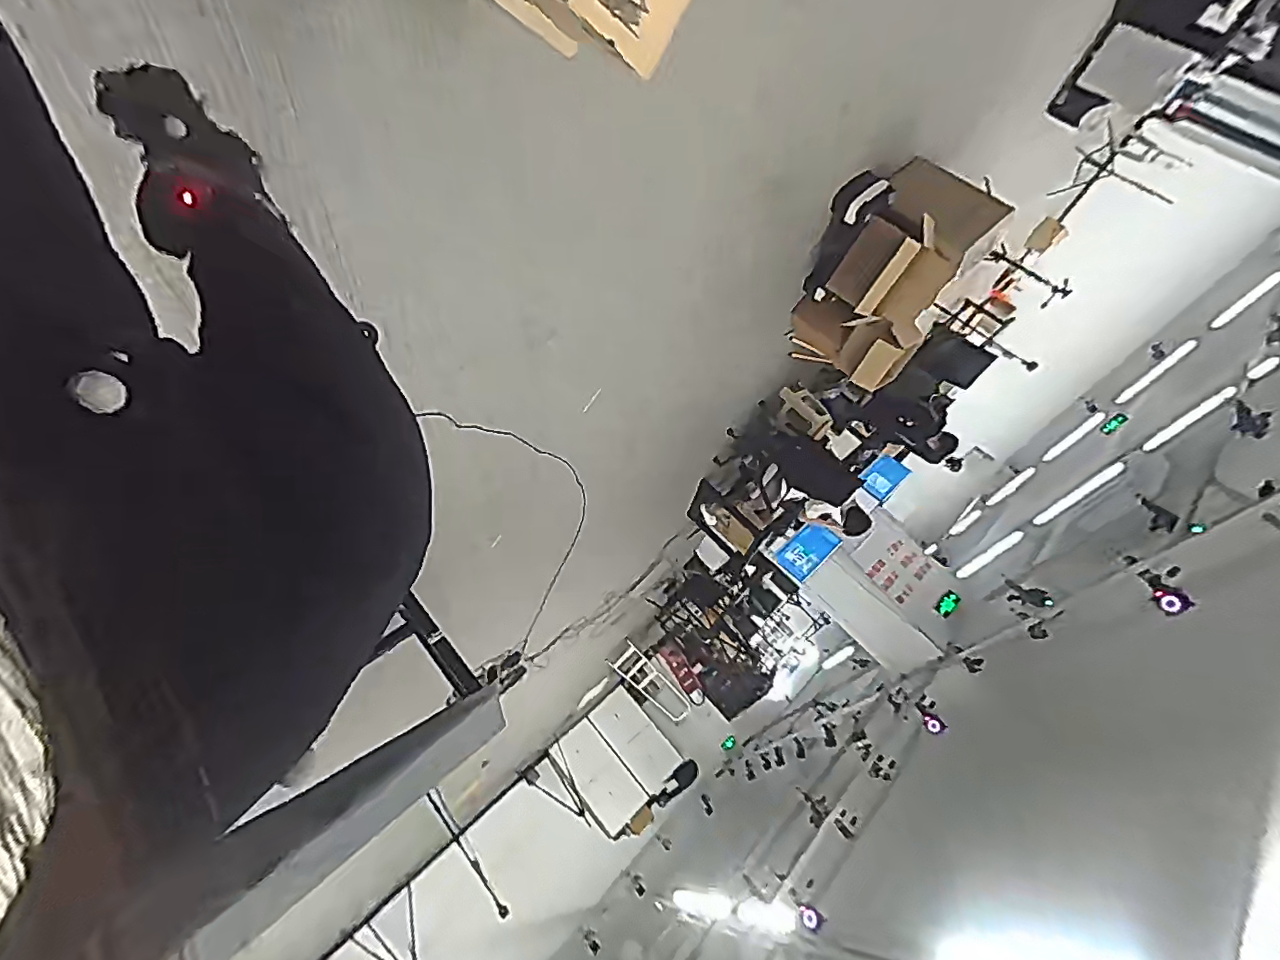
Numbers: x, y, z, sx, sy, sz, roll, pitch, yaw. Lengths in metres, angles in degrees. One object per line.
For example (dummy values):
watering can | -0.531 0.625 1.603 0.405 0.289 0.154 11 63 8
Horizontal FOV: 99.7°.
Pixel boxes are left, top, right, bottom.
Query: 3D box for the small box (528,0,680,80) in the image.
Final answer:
small box | -0.055 -0.621 0.618 0.168 0.176 0.179 -15 145 -55
